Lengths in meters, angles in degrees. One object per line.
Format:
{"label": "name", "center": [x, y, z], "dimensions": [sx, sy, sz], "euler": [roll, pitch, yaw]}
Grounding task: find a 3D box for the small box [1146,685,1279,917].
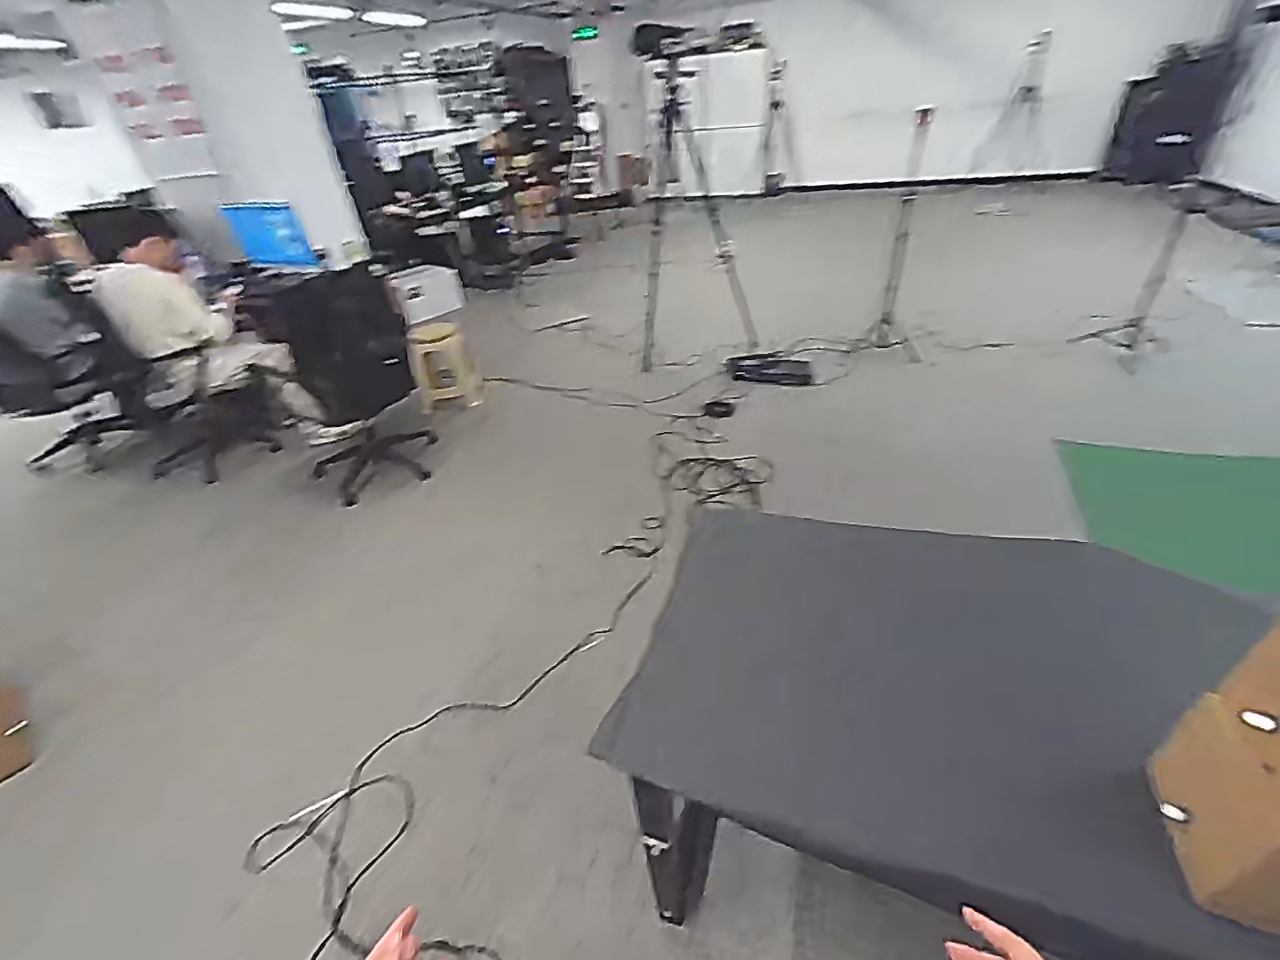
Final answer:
{"label": "small box", "center": [0.719, 0.368, 0.598], "dimensions": [0.168, 0.176, 0.179], "euler": [8, 37, 21]}
